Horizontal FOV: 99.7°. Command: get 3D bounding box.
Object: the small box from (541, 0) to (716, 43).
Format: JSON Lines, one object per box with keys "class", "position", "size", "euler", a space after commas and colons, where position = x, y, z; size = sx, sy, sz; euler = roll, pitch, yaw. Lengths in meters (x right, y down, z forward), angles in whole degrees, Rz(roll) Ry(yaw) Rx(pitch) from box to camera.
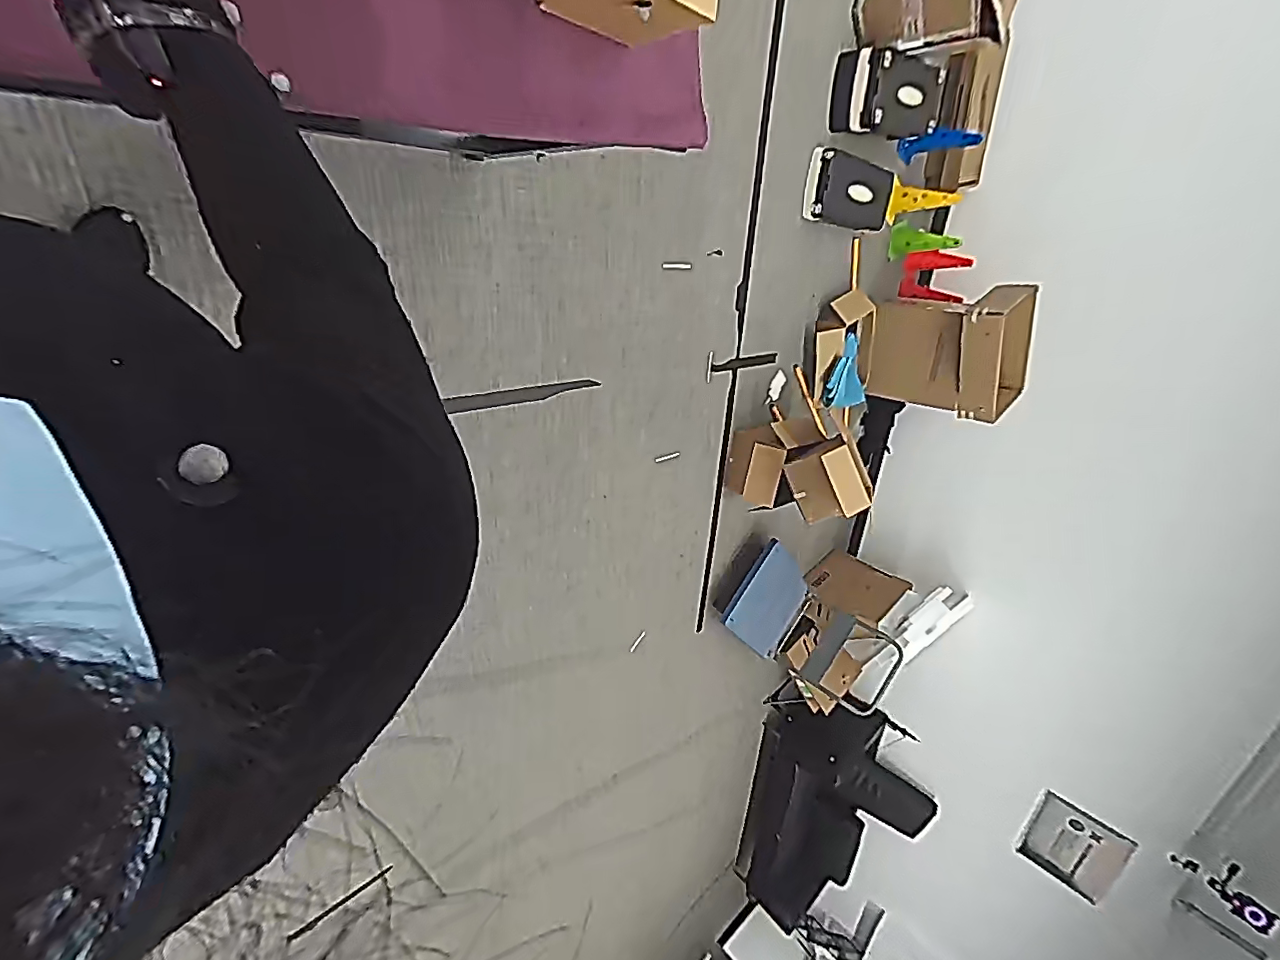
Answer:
{"class": "small box", "position": [-0.011, -0.695, 0.694], "size": [0.179, 0.176, 0.168], "euler": [-15, 120, -41]}
